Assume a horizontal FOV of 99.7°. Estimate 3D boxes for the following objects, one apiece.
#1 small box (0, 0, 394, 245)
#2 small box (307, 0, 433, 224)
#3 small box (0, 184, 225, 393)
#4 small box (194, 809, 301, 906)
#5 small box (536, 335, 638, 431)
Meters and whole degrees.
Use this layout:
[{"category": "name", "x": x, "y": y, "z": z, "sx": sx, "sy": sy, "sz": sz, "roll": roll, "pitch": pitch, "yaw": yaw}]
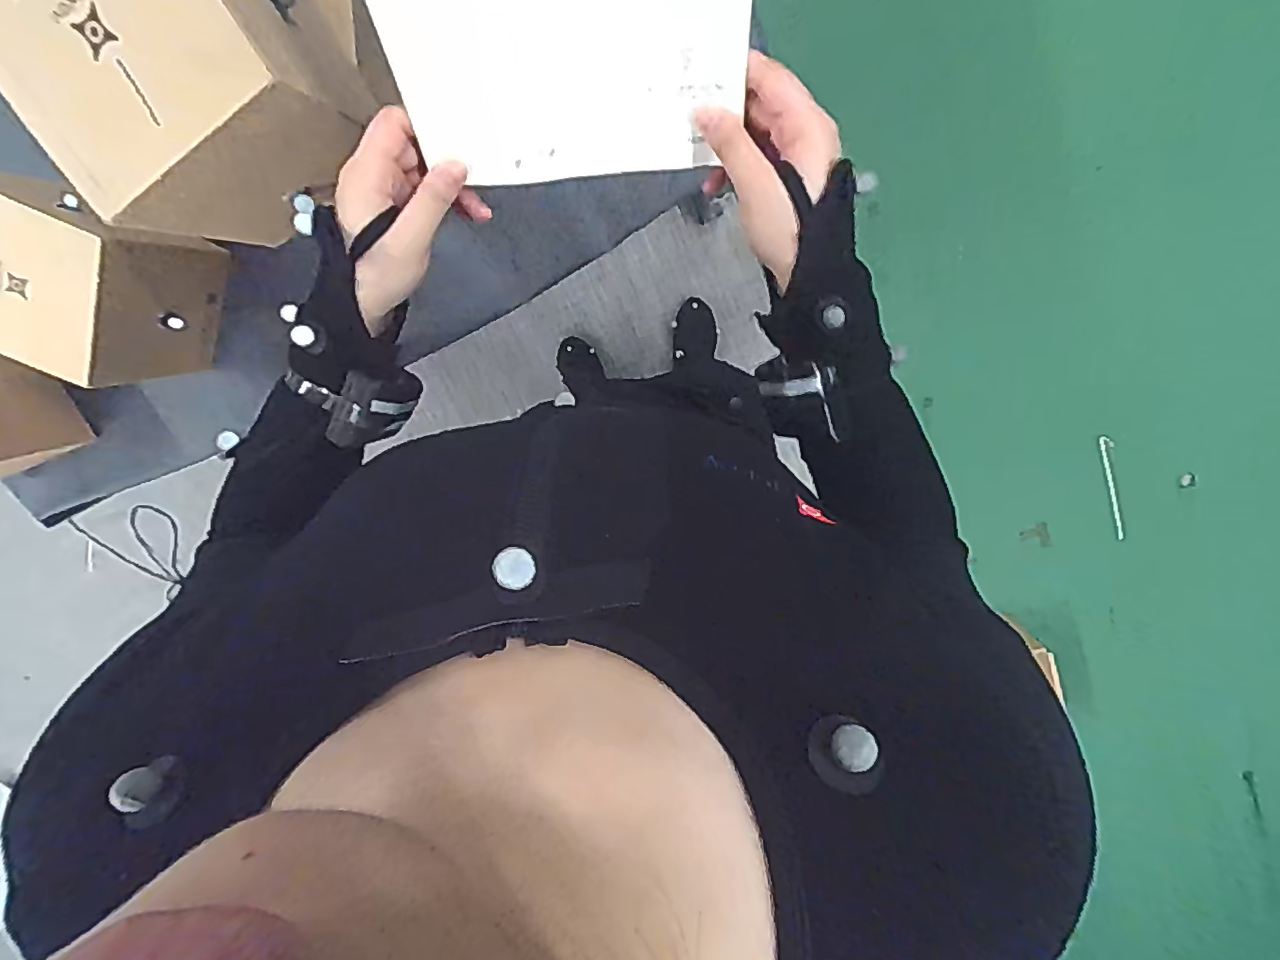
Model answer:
[{"category": "small box", "x": -0.331, "y": -0.301, "z": 0.406, "sx": 0.168, "sy": 0.176, "sz": 0.179, "roll": -27, "pitch": 105, "yaw": 13}, {"category": "small box", "x": -0.328, "y": -0.367, "z": 0.557, "sx": 0.179, "sy": 0.176, "sz": 0.168, "roll": 5, "pitch": 109, "yaw": 3}, {"category": "small box", "x": -0.633, "y": -0.222, "z": 0.625, "sx": 0.179, "sy": 0.176, "sz": 0.168, "roll": 24, "pitch": 108, "yaw": -4}, {"category": "small box", "x": -1.112, "y": 1.079, "z": 1.555, "sx": 0.179, "sy": 0.176, "sz": 0.168, "roll": -3, "pitch": 108, "yaw": 2}, {"category": "small box", "x": -0.127, "y": -0.237, "z": 1.341, "sx": 0.176, "sy": 0.168, "sz": 0.179, "roll": 22, "pitch": 85, "yaw": -34}]
